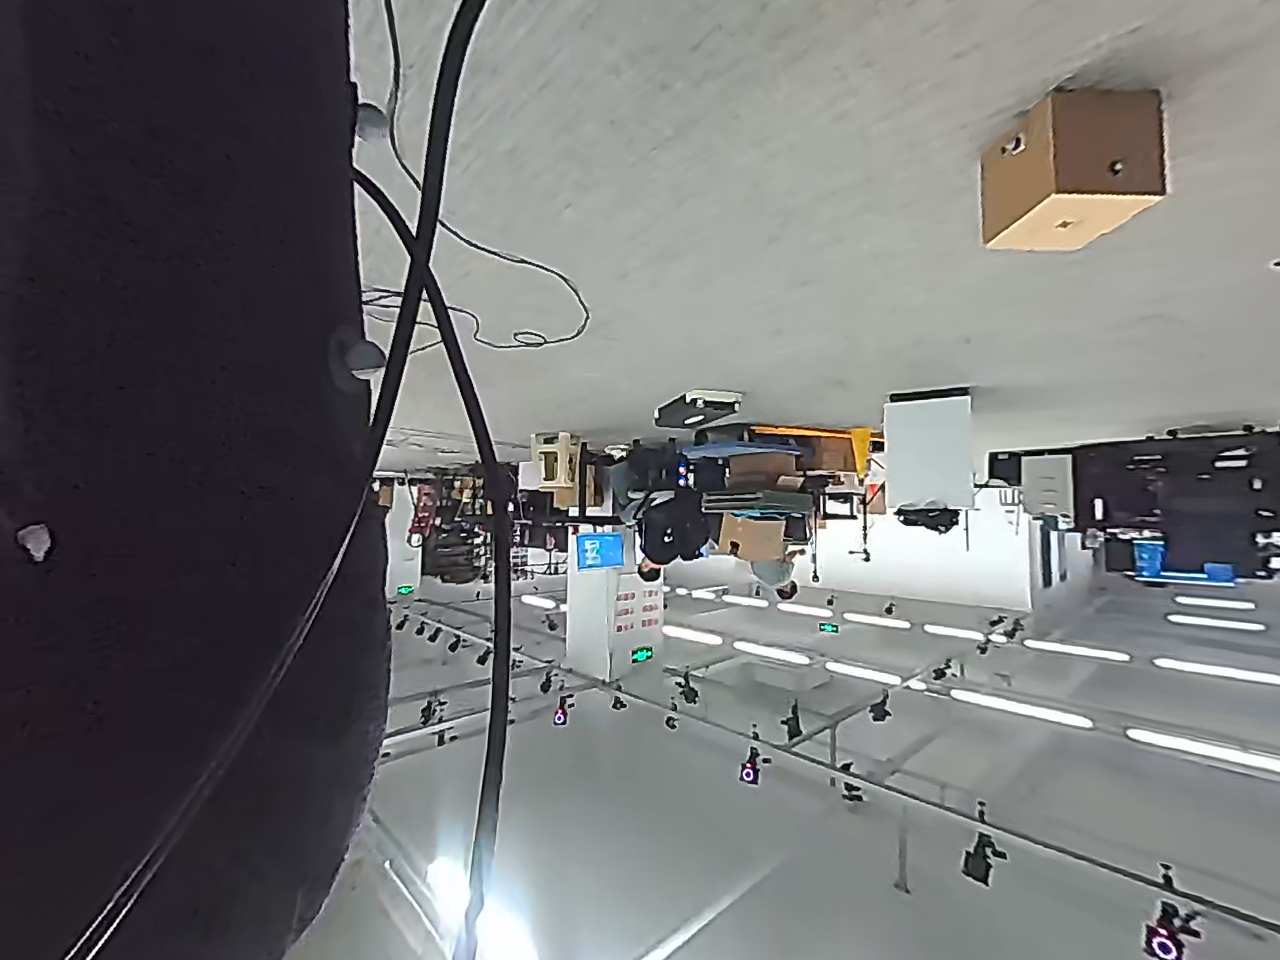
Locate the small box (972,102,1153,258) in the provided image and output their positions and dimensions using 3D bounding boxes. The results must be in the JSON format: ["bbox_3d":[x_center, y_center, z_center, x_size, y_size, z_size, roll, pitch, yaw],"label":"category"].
[{"bbox_3d":[0.684,-0.487,0.893,0.179,0.176,0.168,1,175,-2],"label":"small box"}]
